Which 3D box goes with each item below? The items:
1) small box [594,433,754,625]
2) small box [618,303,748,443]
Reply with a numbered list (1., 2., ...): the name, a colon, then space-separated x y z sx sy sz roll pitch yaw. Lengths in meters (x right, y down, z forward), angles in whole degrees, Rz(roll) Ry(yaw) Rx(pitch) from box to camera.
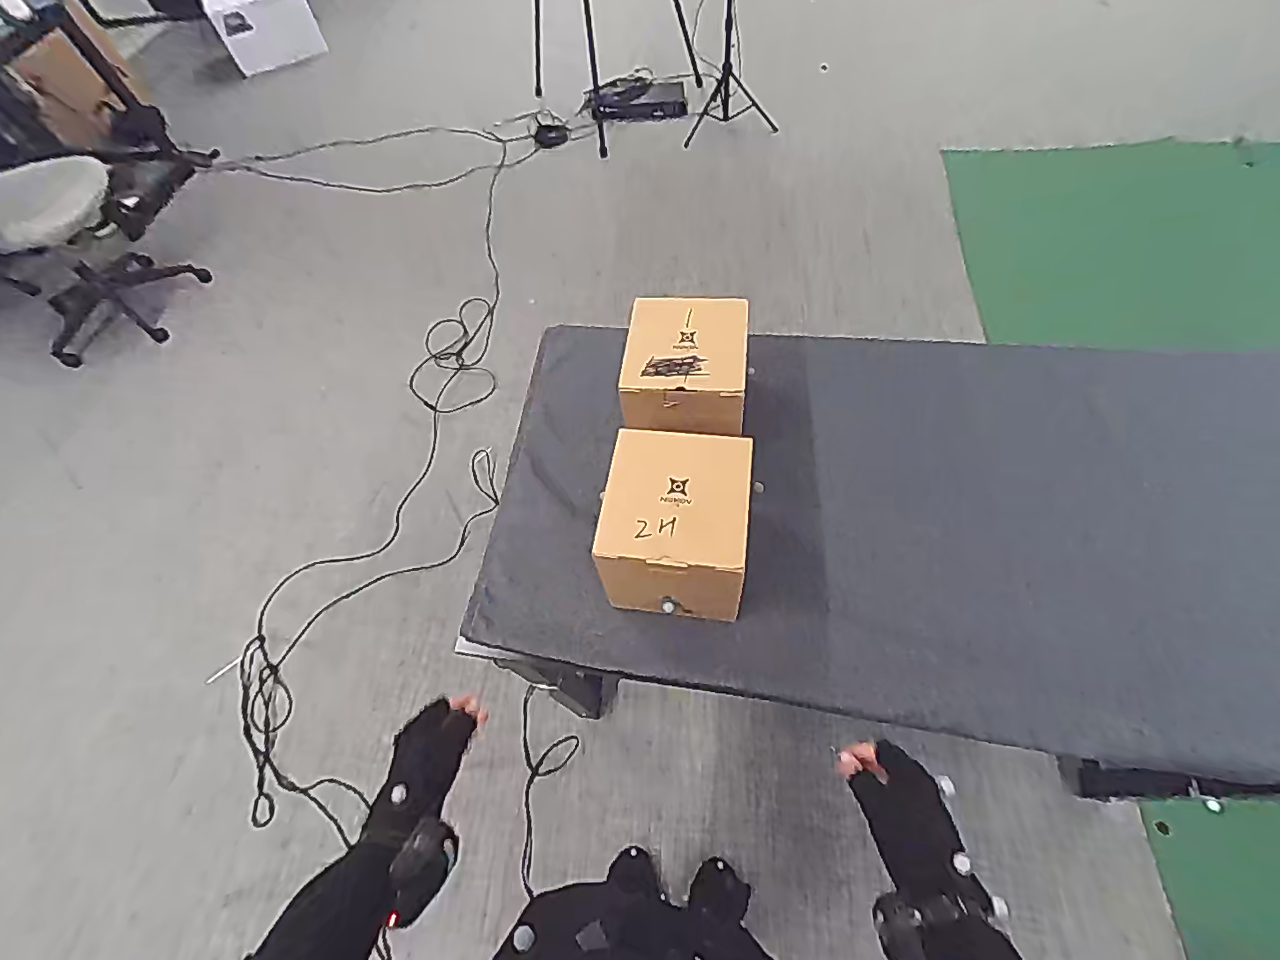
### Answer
1. small box: 0.049 0.064 0.684 0.168 0.176 0.179 5 58 9
2. small box: 0.070 -0.138 0.805 0.168 0.176 0.179 4 59 8
